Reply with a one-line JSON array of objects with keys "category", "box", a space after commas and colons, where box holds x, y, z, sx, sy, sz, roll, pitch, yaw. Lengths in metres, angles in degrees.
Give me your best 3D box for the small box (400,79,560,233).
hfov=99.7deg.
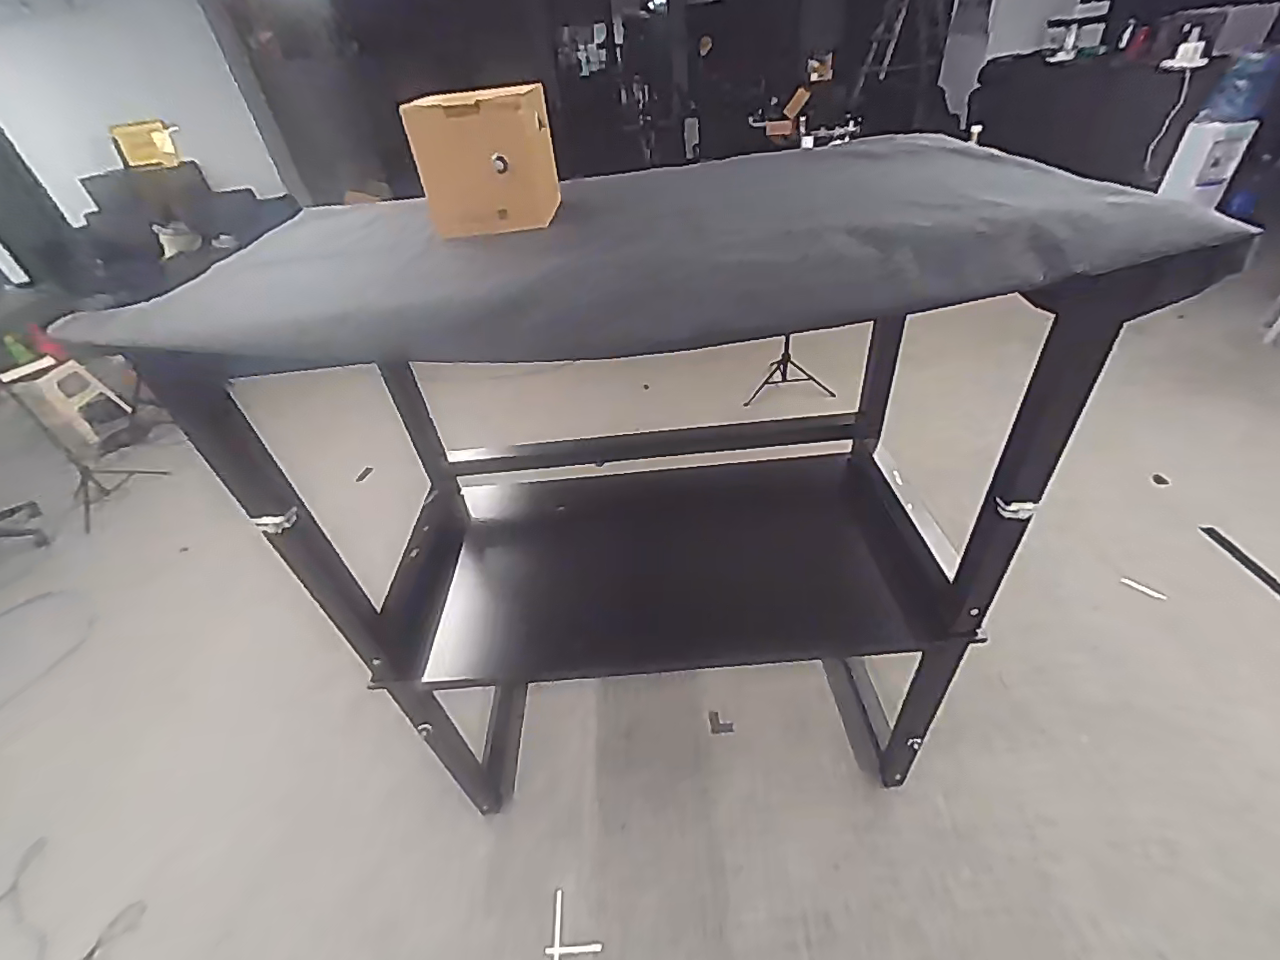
[{"category": "small box", "box": [-0.221, -0.476, 0.805, 0.168, 0.176, 0.179, -3, 40, 4]}]
